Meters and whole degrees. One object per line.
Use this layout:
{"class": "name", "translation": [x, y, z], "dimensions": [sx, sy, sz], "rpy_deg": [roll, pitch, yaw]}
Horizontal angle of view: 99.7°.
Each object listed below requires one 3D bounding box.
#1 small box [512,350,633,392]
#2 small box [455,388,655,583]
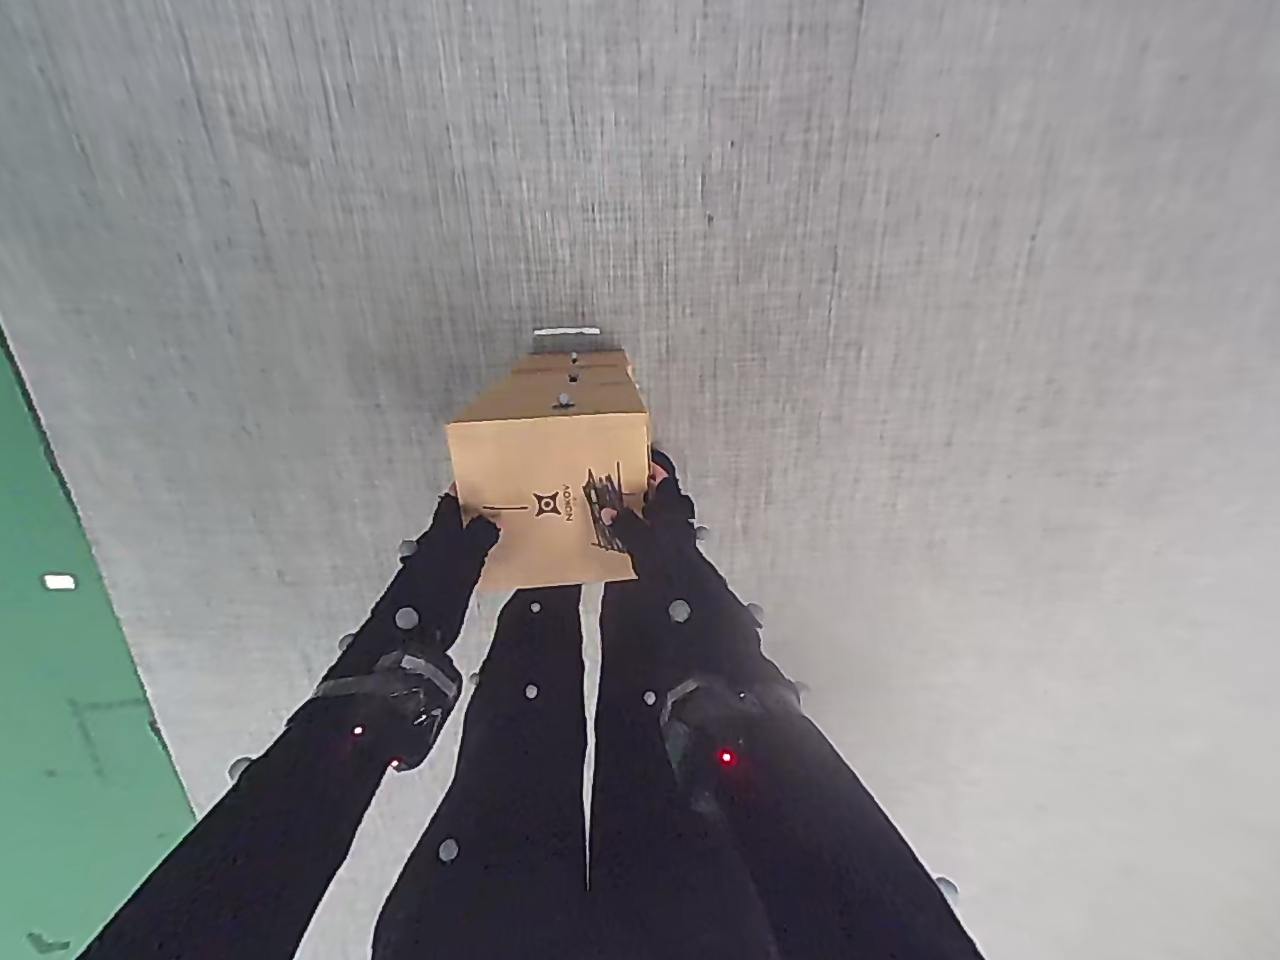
{"class": "small box", "translation": [-0.100, -0.117, 0.882], "dimensions": [0.179, 0.176, 0.168], "rpy_deg": [-3, 110, -1]}
{"class": "small box", "translation": [-0.082, -0.005, 0.571], "dimensions": [0.179, 0.176, 0.168], "rpy_deg": [-1, 108, -4]}
